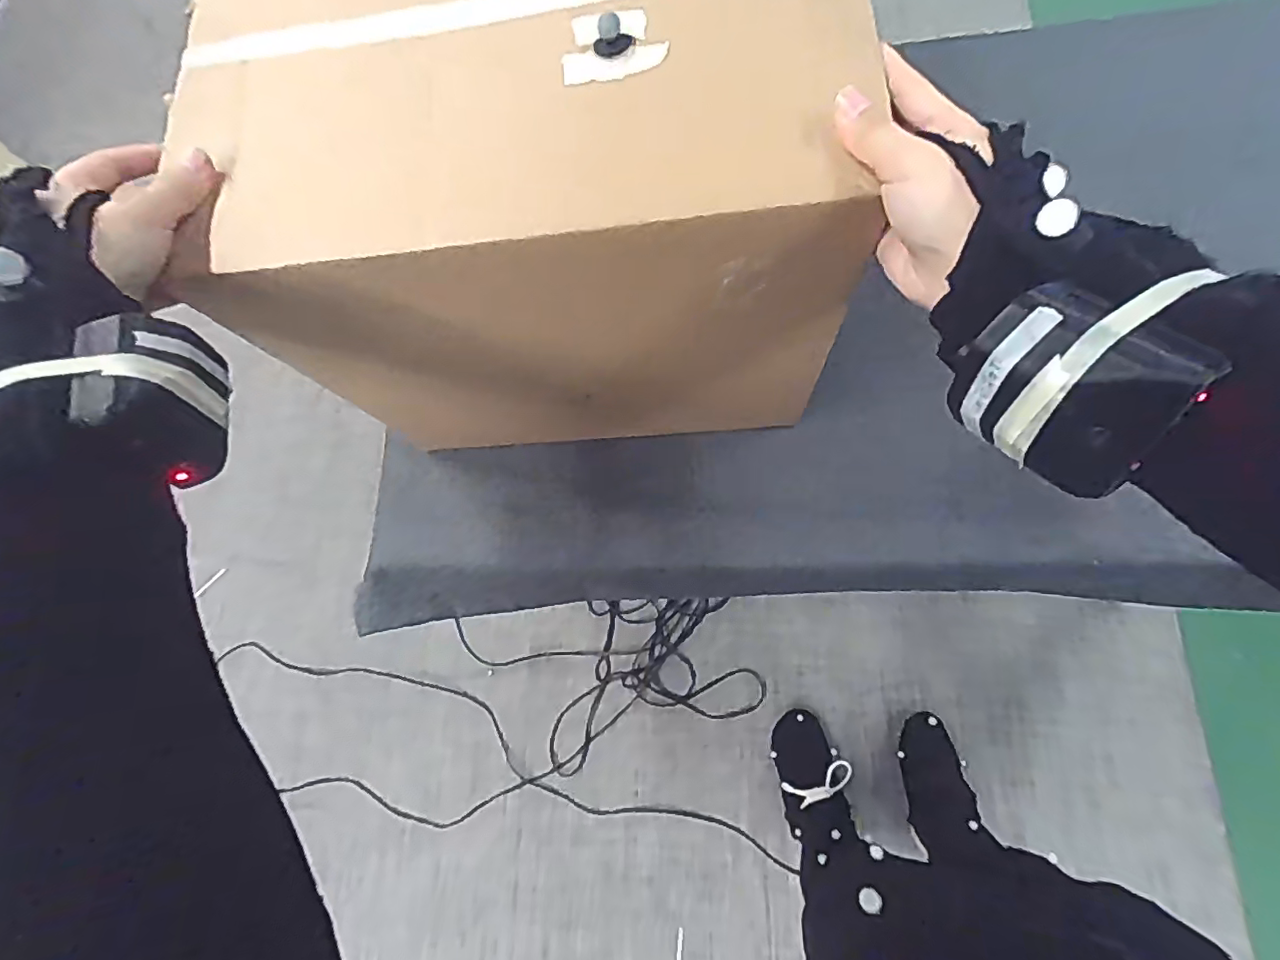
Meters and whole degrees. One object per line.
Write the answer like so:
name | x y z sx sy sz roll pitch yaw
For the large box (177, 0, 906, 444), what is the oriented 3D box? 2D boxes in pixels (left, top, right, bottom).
large box | -0.056 -0.236 0.467 0.408 0.320 0.320 -4 76 5
